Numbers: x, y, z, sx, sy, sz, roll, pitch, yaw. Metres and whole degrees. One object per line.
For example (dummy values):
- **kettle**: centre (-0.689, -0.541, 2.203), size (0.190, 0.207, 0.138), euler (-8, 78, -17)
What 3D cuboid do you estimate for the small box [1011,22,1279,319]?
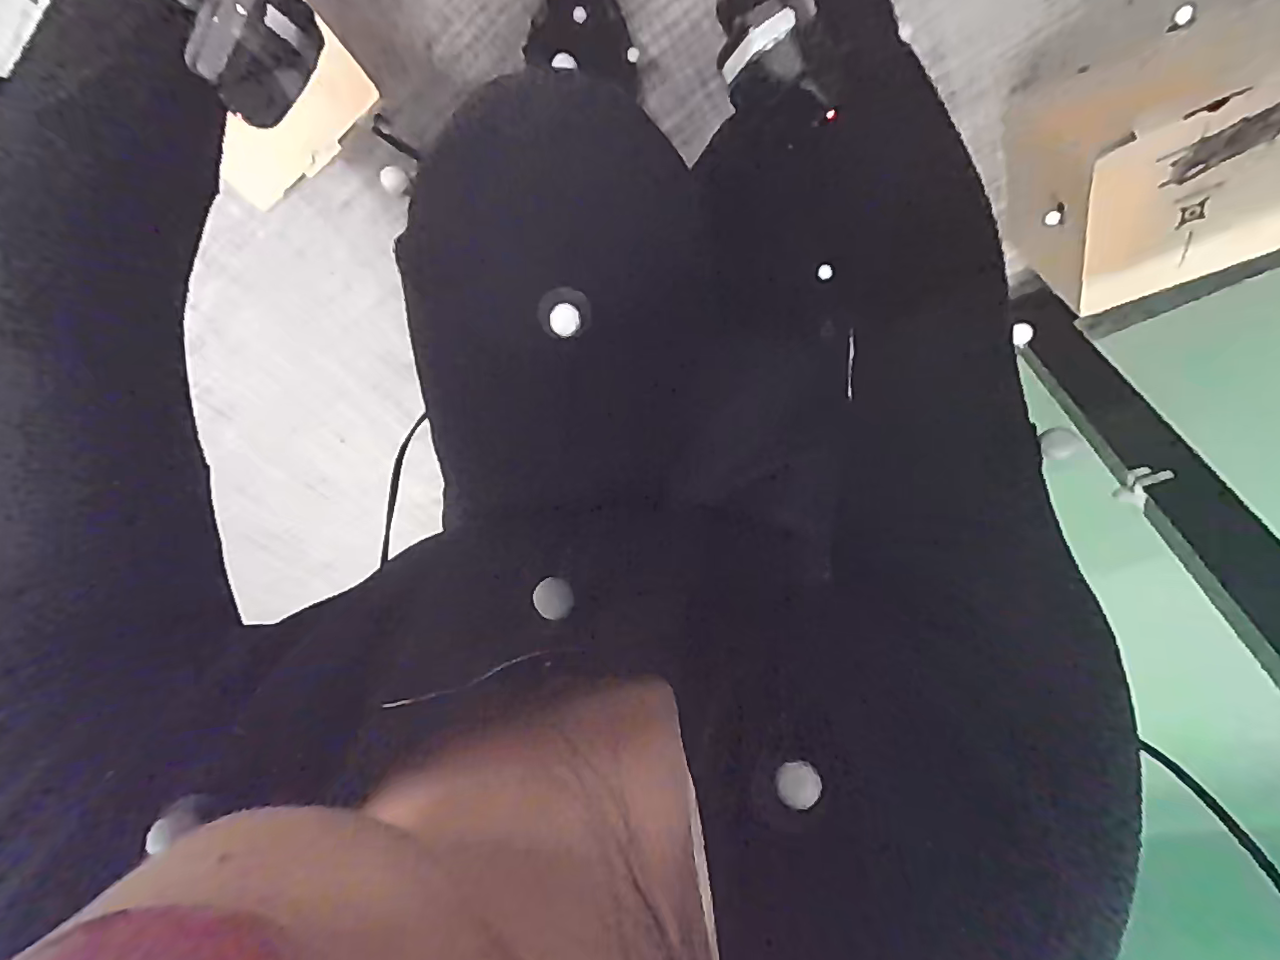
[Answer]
- **small box**: centre (0.484, -0.297, 0.520), size (0.168, 0.176, 0.179), euler (-18, 134, 22)
